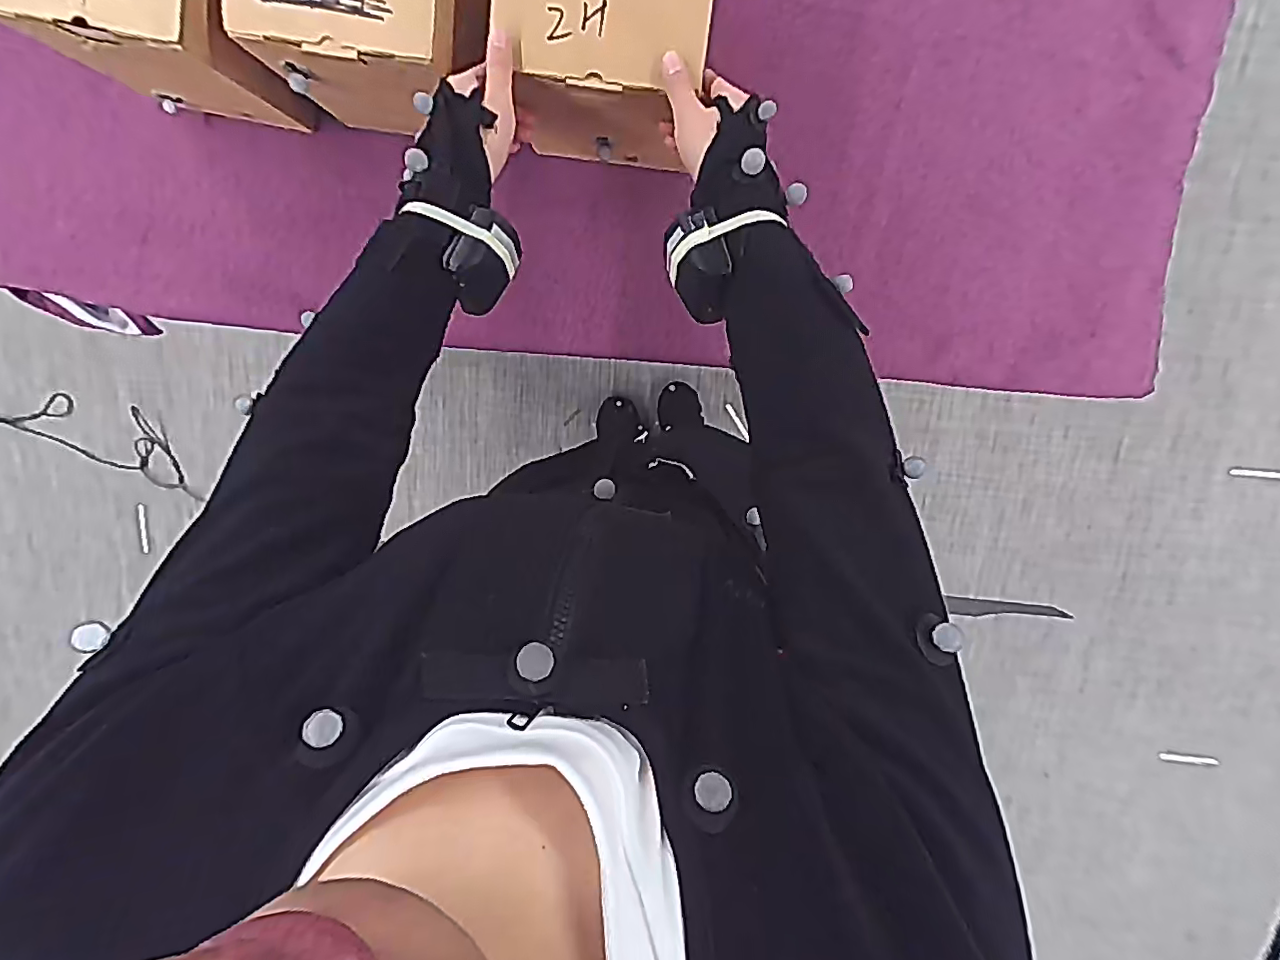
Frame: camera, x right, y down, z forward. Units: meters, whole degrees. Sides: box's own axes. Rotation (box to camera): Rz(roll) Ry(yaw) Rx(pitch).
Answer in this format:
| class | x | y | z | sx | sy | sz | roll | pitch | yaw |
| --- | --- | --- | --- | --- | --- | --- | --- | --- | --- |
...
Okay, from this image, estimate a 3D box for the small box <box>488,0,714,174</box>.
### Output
| class | x | y | z | sx | sy | sz | roll | pitch | yaw |
| --- | --- | --- | --- | --- | --- | --- | --- | --- | --- |
| small box | -0.022 | -0.401 | 0.474 | 0.168 | 0.176 | 0.179 | 8 | 102 | 1 |
